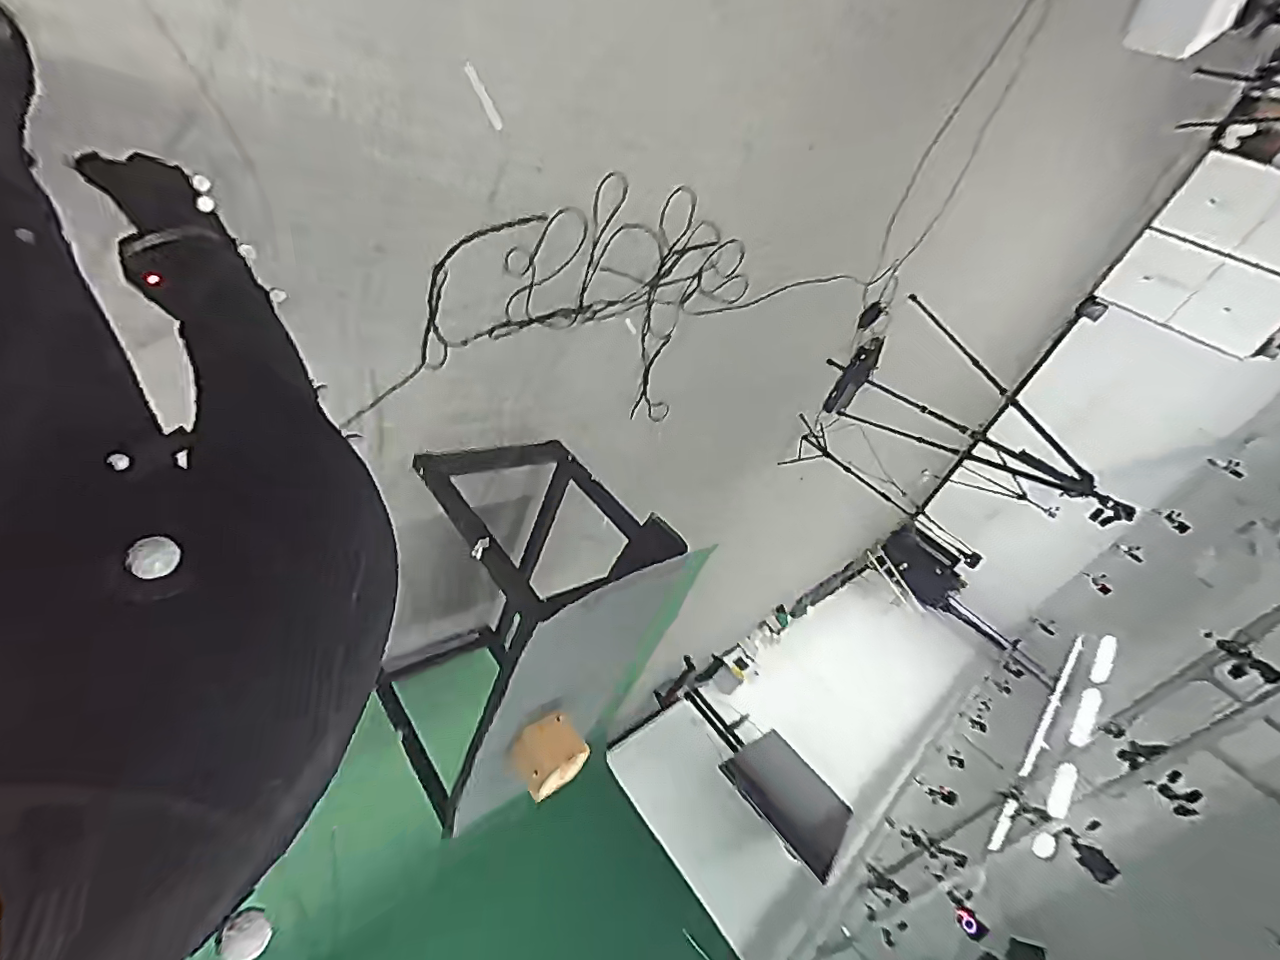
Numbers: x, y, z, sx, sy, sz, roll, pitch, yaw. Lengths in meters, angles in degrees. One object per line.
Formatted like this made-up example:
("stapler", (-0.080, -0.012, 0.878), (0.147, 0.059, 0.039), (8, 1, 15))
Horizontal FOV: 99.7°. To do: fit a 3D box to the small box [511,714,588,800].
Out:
("small box", (-0.308, 0.915, 1.811), (0.168, 0.176, 0.179), (-10, 136, -47))
